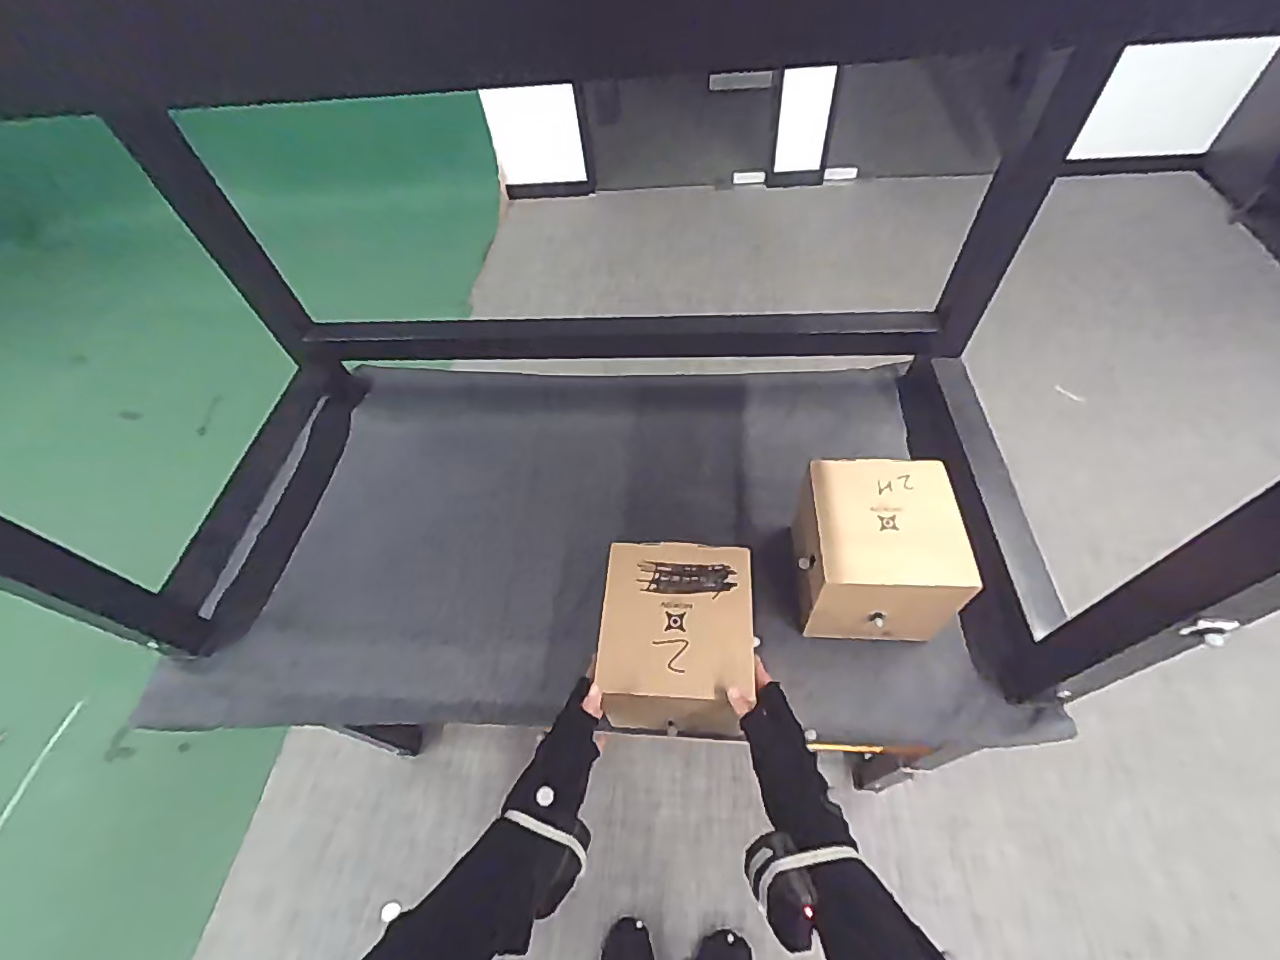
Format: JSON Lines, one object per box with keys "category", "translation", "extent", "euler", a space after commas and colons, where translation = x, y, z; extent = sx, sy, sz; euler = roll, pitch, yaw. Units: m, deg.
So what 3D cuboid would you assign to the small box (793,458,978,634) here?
{"category": "small box", "translation": [0.300, 0.090, 0.705], "extent": [0.168, 0.176, 0.179], "euler": [0, 53, 6]}
